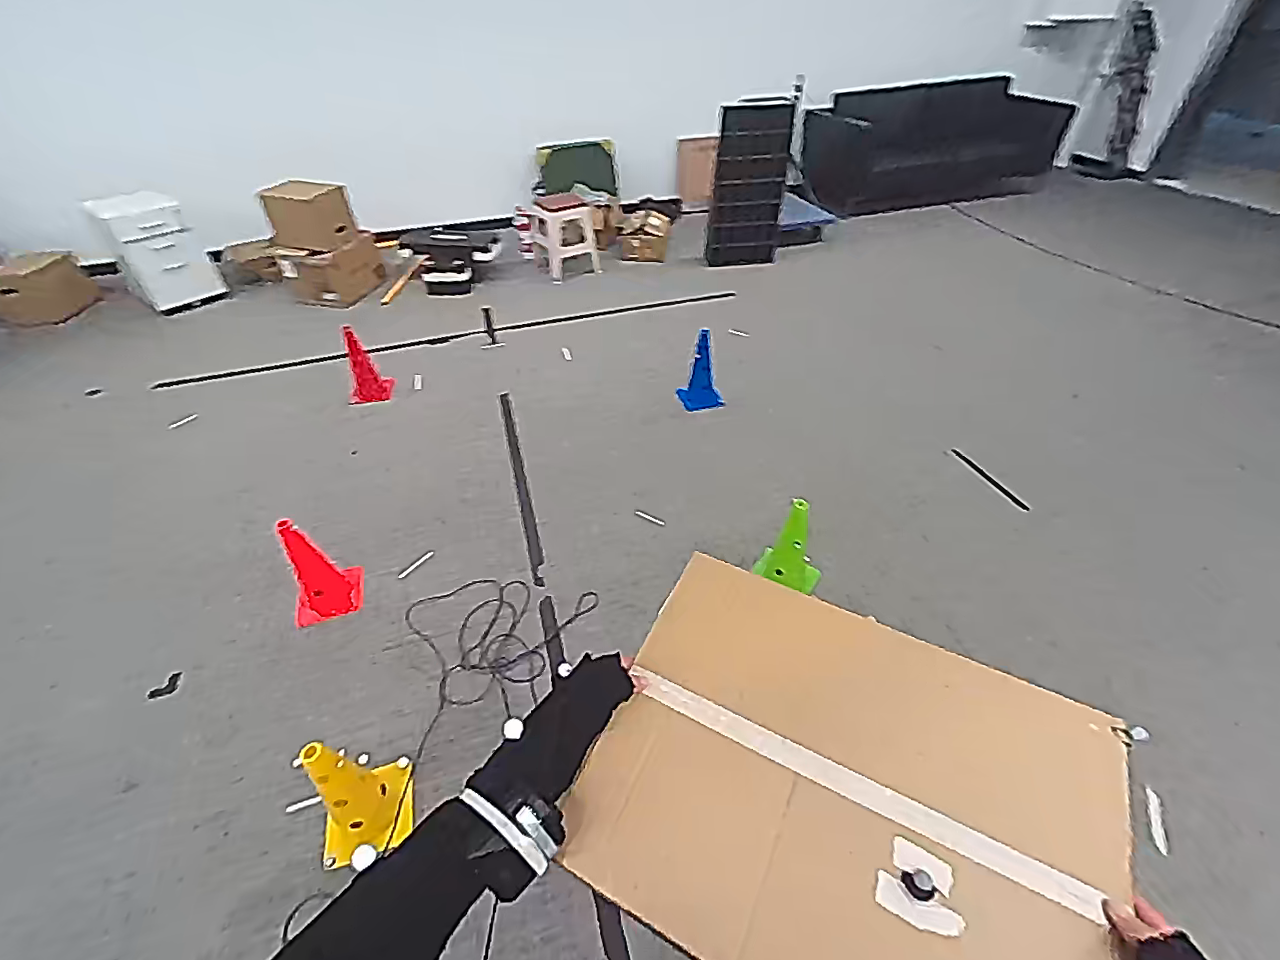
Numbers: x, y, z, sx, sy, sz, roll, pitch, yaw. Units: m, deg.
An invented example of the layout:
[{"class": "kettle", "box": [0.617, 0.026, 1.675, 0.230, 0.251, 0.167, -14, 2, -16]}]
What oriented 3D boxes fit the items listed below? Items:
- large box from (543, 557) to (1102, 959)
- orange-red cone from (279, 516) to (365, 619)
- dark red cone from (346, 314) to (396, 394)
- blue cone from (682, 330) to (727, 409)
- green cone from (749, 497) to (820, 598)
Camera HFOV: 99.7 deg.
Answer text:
[{"class": "large box", "box": [0.166, 0.346, 0.573, 0.408, 0.320, 0.320, 20, 53, 19]}, {"class": "orange-red cone", "box": [-1.041, 0.247, 1.714, 0.198, 0.360, 0.199, -14, 45, -13]}, {"class": "dark red cone", "box": [-1.349, -0.615, 2.637, 0.201, 0.394, 0.202, -7, 43, -8]}, {"class": "blue cone", "box": [0.318, -0.534, 2.576, 0.192, 0.380, 0.193, -9, 43, -10]}, {"class": "green cone", "box": [0.495, 0.201, 1.734, 0.200, 0.368, 0.202, 26, 47, 25]}]
